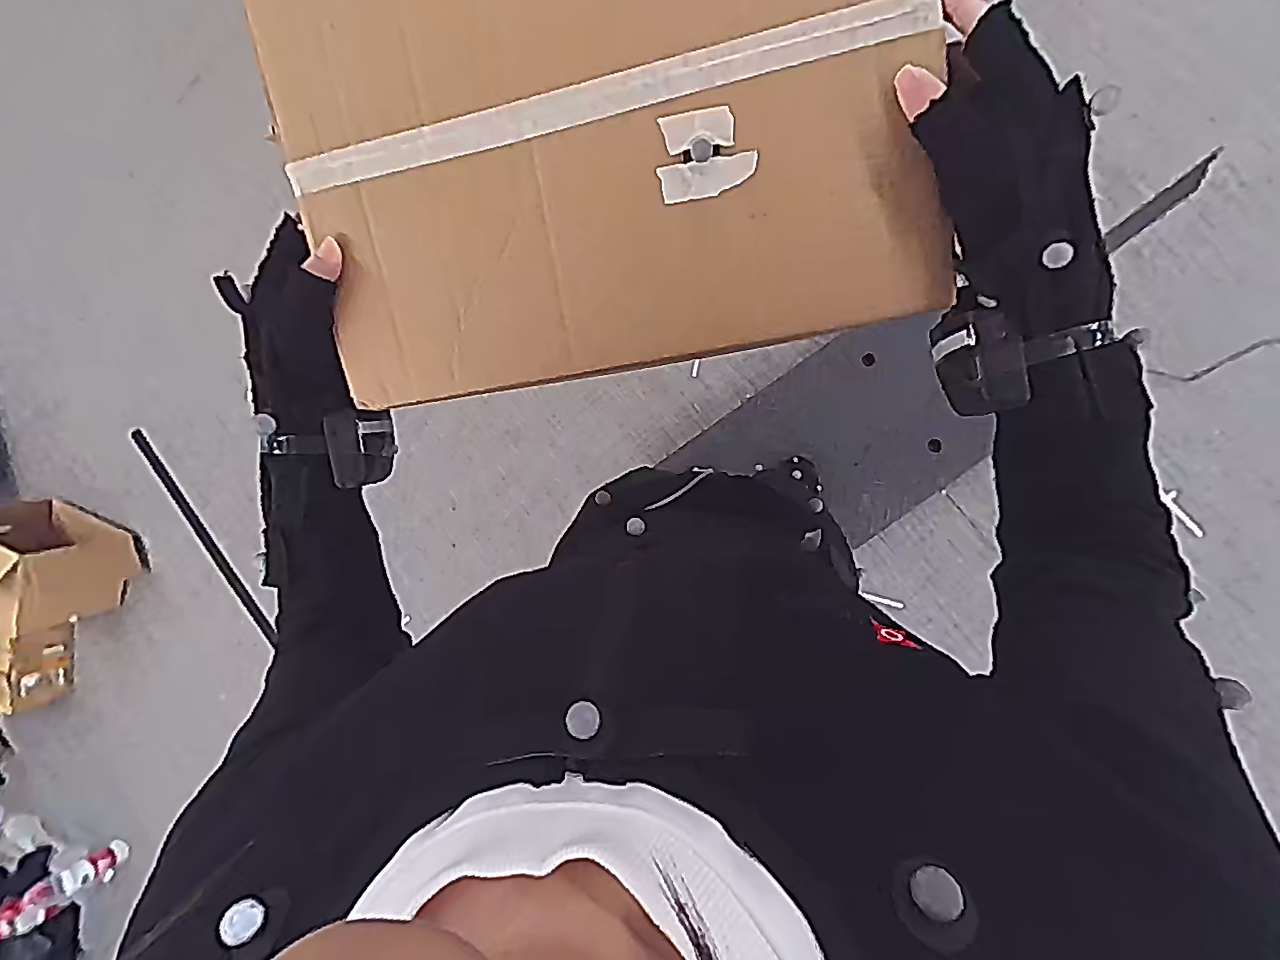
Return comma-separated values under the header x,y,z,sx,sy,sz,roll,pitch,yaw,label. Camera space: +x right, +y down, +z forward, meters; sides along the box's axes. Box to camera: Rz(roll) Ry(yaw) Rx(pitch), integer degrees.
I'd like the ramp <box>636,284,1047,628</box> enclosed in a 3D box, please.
x,y,z,sx,sy,sz,roll,pitch,yaw,label
0.524,-0.090,1.444,0.991,0.206,0.509,-38,83,10,ramp

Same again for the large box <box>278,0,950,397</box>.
x,y,z,sx,sy,sz,roll,pitch,yaw,label
-0.007,-0.269,0.485,0.408,0.320,0.320,-8,102,9,large box
